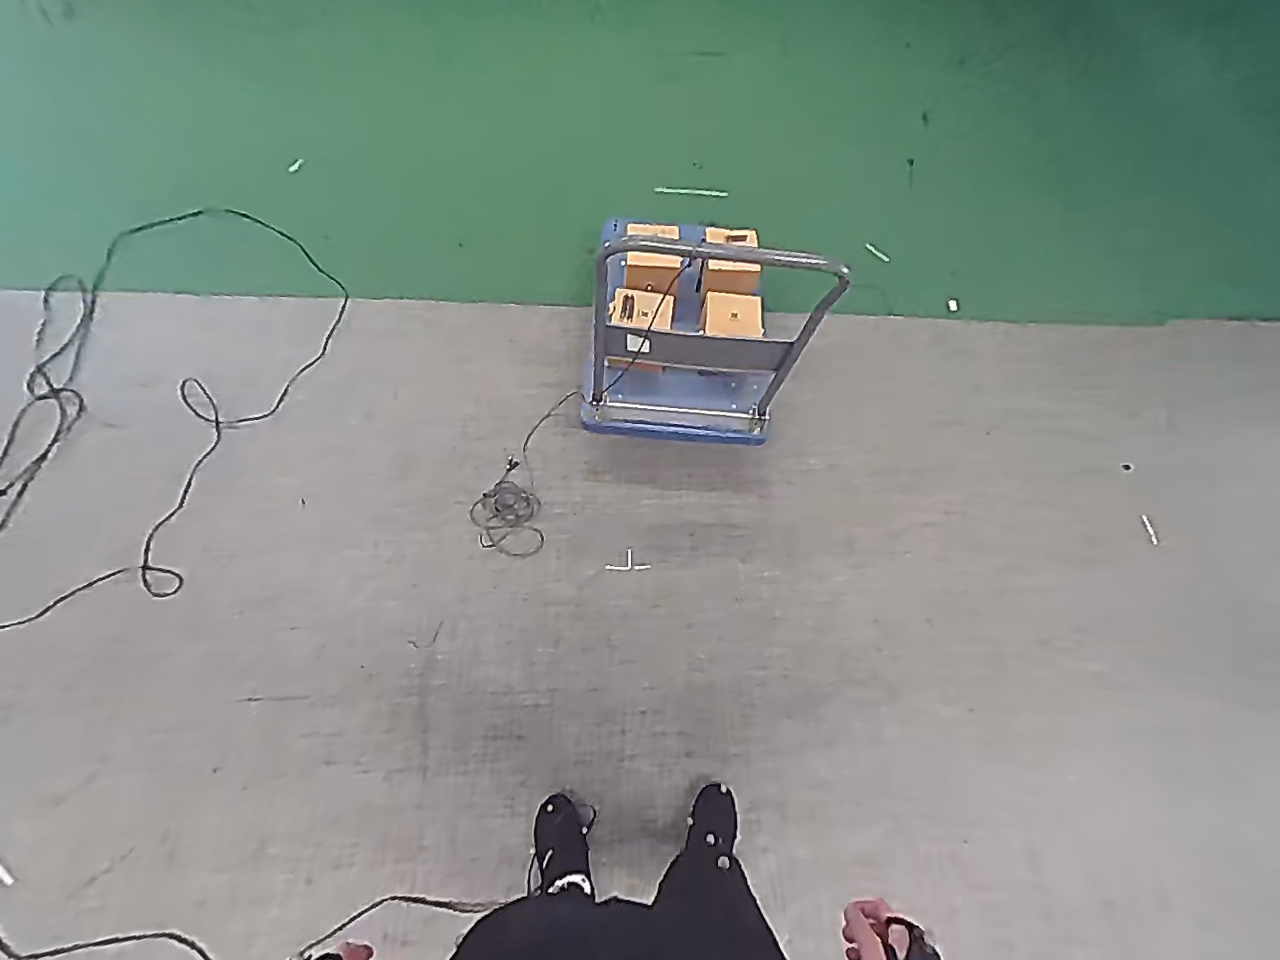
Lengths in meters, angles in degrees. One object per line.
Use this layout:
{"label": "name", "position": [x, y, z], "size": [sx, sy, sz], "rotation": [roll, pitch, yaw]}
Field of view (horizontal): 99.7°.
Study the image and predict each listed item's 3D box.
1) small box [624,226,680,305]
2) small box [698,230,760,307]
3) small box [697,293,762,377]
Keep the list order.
{"label": "small box", "position": [0.036, -0.693, 1.761], "size": [0.168, 0.176, 0.179], "rotation": [2, 66, -5]}
{"label": "small box", "position": [0.287, -0.689, 1.779], "size": [0.168, 0.176, 0.179], "rotation": [1, 67, -3]}
{"label": "small box", "position": [0.272, -0.443, 1.668], "size": [0.168, 0.176, 0.179], "rotation": [6, 66, -2]}
